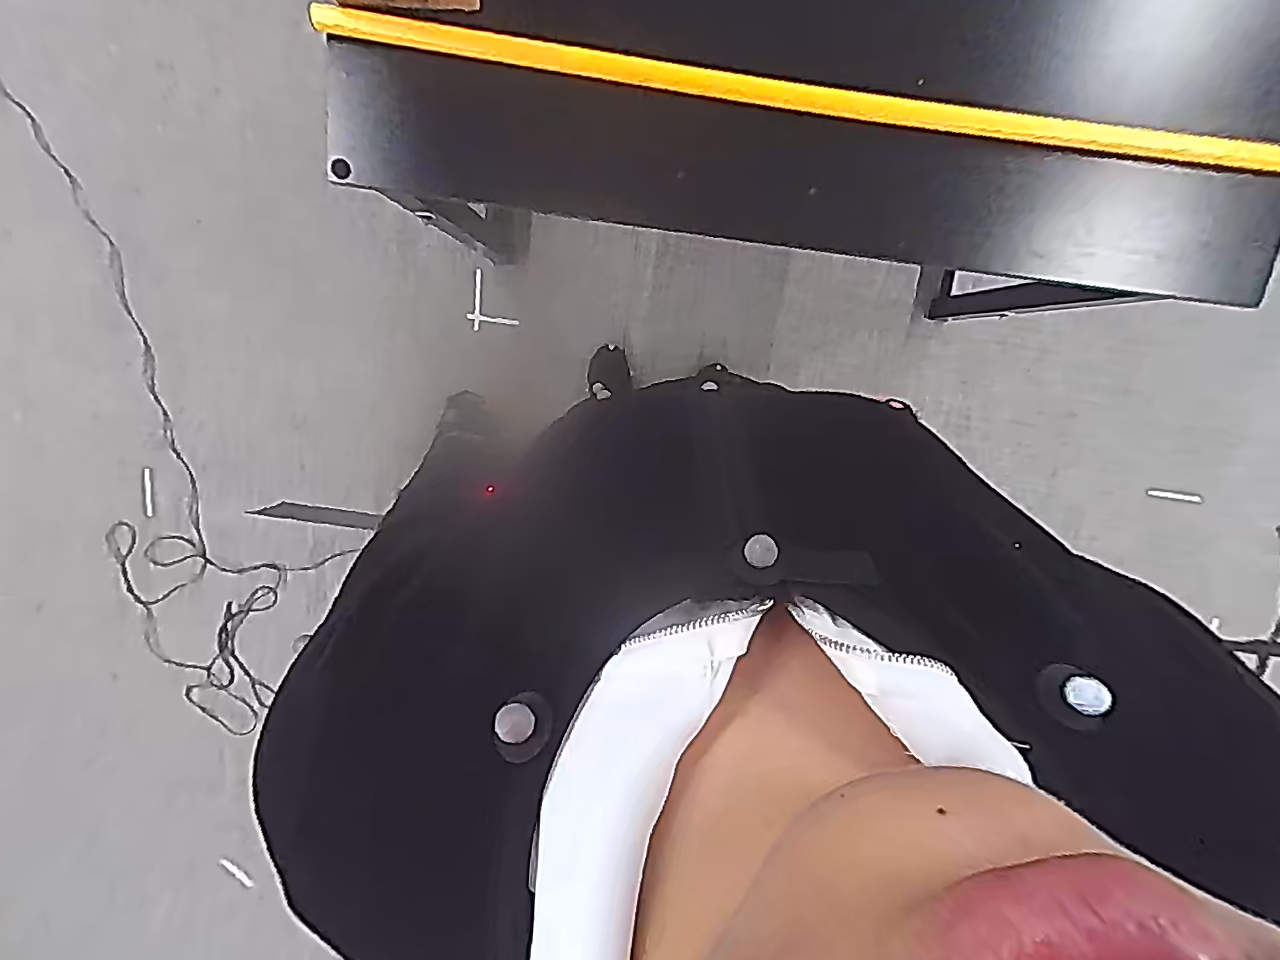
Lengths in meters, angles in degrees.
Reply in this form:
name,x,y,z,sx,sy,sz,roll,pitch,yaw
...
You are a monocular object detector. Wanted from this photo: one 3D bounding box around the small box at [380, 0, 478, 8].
name,x,y,z,sx,sy,sz,roll,pitch,yaw
small box,-0.259,-0.618,0.529,0.168,0.176,0.179,2,104,-1
